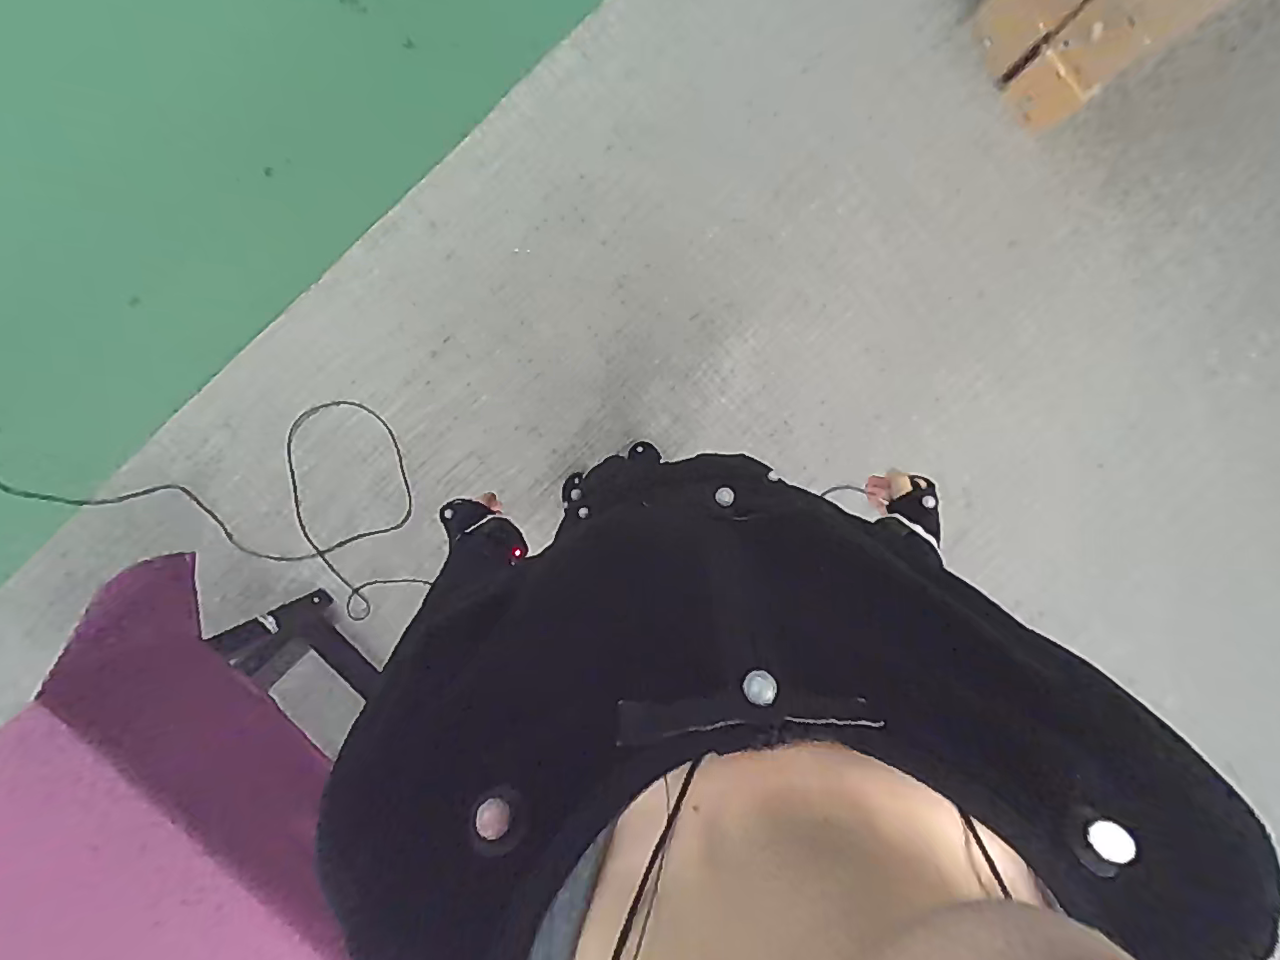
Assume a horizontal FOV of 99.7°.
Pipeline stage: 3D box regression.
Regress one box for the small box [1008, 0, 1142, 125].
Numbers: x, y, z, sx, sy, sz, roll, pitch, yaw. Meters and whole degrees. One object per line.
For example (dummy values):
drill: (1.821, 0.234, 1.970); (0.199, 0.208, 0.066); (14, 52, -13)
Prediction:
small box: (1.121, -1.088, 1.409); (0.179, 0.176, 0.168); (-44, 94, 2)
